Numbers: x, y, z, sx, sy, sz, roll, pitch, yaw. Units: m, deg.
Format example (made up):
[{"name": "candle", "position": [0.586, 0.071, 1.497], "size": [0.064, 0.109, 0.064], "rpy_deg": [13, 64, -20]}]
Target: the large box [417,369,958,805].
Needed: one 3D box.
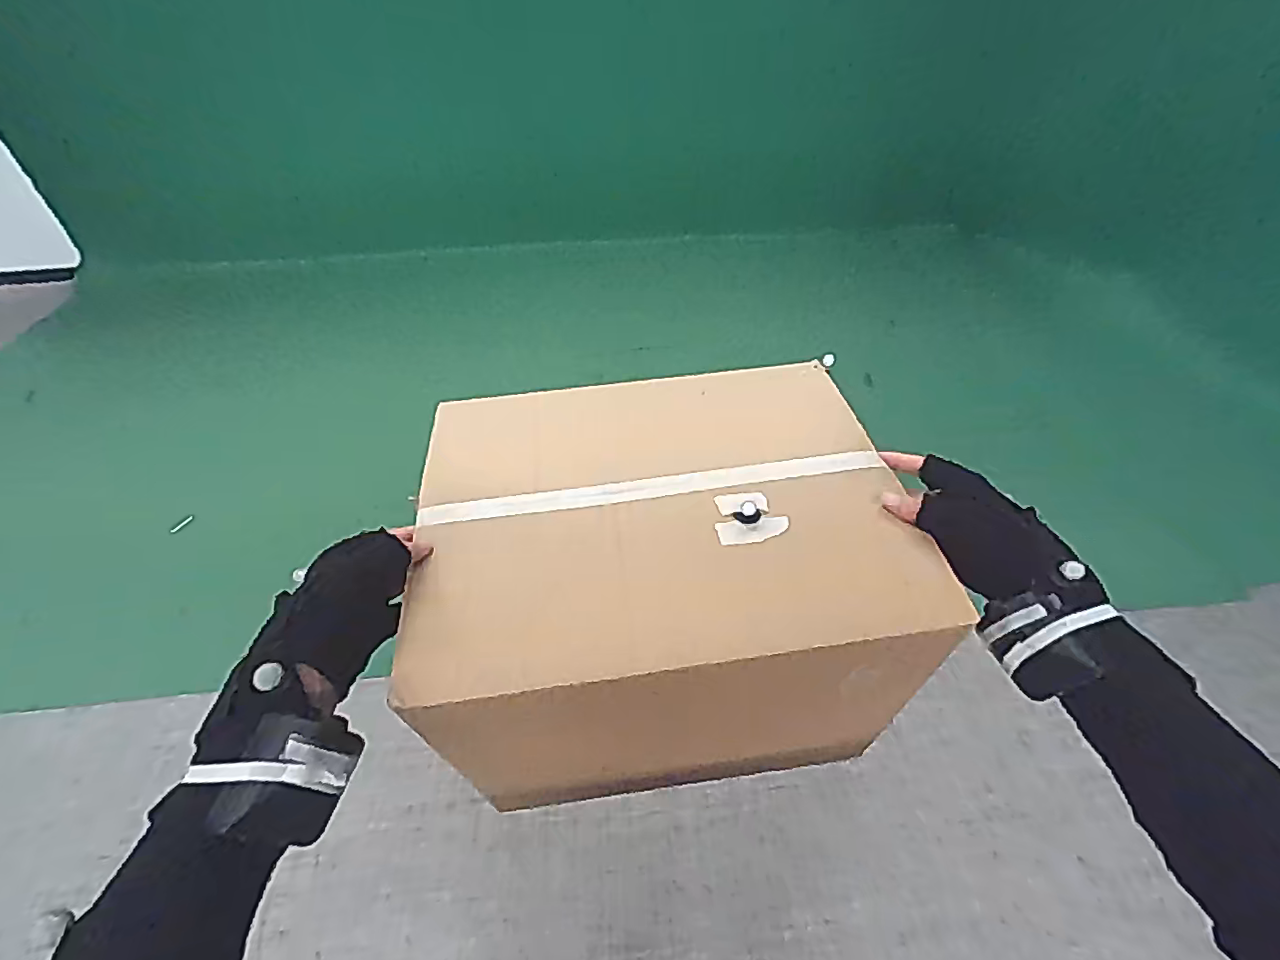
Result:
[{"name": "large box", "position": [0.024, 0.115, 0.590], "size": [0.408, 0.320, 0.320], "rpy_deg": [-8, 48, -4]}]
